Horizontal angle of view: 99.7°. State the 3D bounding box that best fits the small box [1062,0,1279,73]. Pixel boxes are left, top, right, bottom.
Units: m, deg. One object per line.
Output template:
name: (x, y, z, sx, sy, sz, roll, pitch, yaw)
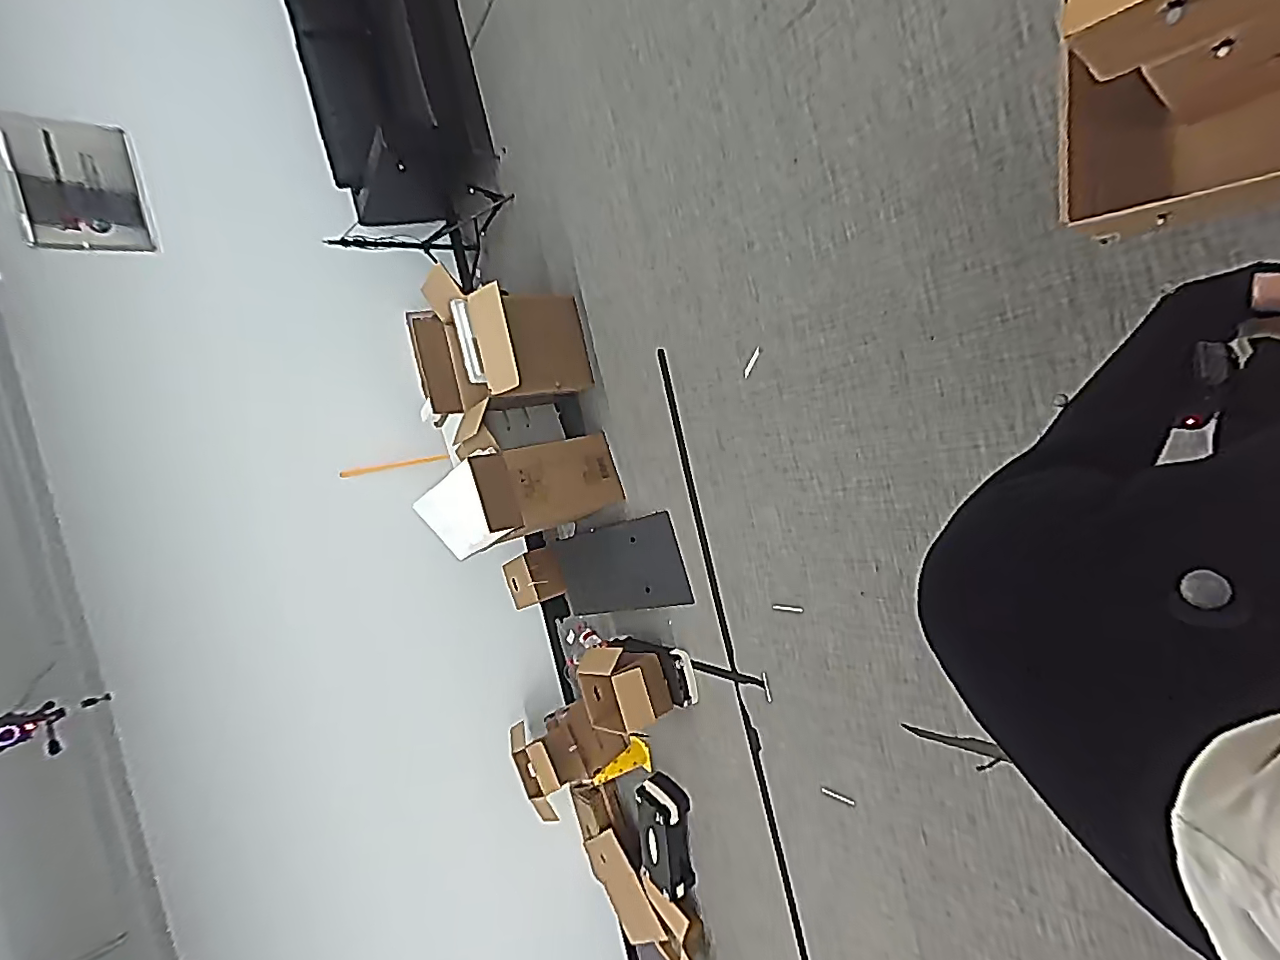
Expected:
small box: (0.542, -0.544, 0.526, 0.179, 0.176, 0.168, 5, 105, 51)
